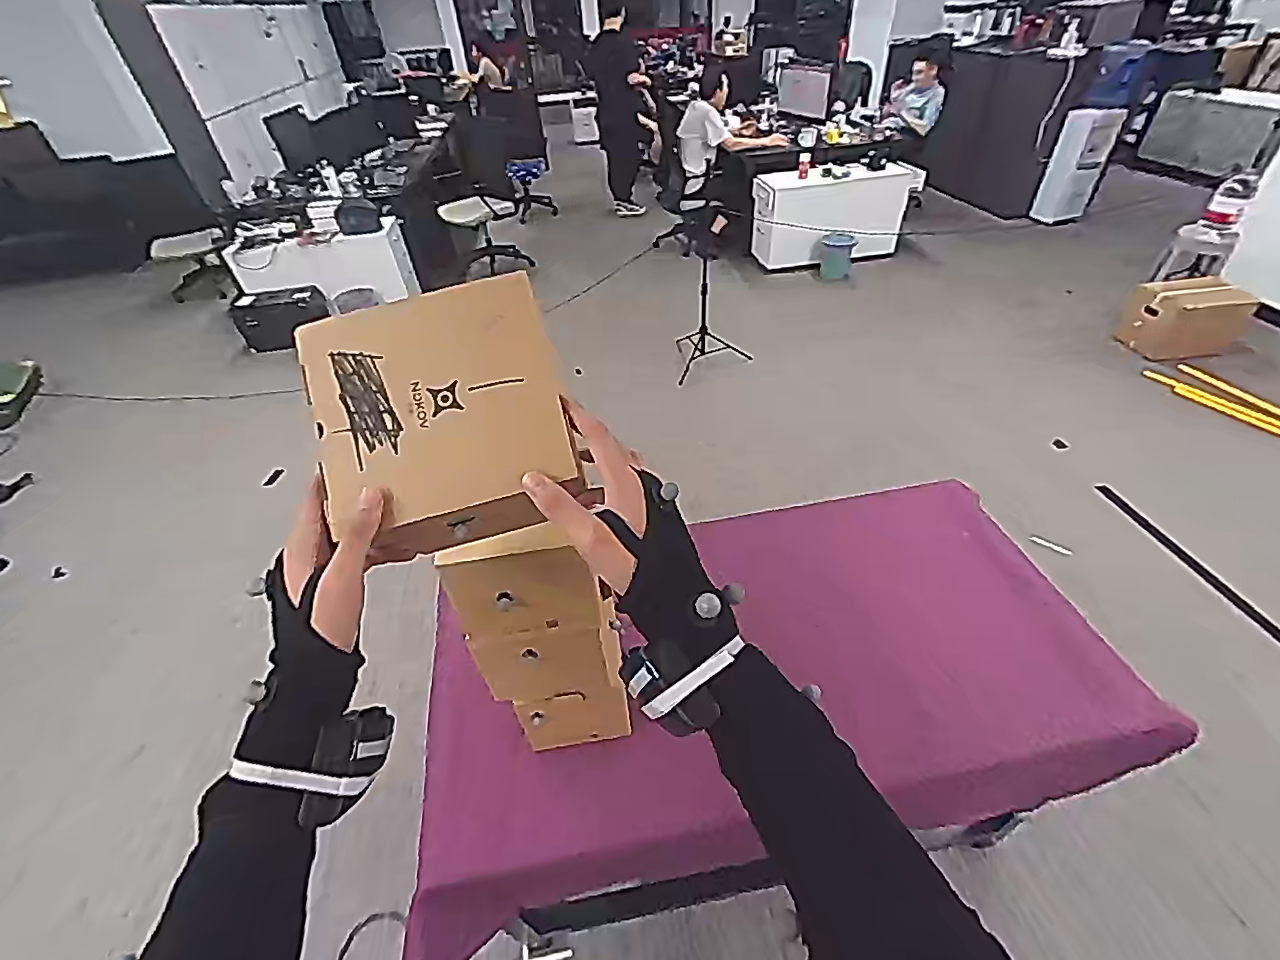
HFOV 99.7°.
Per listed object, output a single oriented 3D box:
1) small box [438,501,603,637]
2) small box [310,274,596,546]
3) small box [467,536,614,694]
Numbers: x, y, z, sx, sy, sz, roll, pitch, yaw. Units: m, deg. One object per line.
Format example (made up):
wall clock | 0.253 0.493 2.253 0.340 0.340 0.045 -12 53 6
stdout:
small box | -0.143 0.084 0.696 0.168 0.176 0.179 -8 41 -4
small box | -0.144 -0.044 0.472 0.179 0.176 0.168 -15 80 -4
small box | -0.135 0.203 0.807 0.179 0.176 0.168 -3 42 1
